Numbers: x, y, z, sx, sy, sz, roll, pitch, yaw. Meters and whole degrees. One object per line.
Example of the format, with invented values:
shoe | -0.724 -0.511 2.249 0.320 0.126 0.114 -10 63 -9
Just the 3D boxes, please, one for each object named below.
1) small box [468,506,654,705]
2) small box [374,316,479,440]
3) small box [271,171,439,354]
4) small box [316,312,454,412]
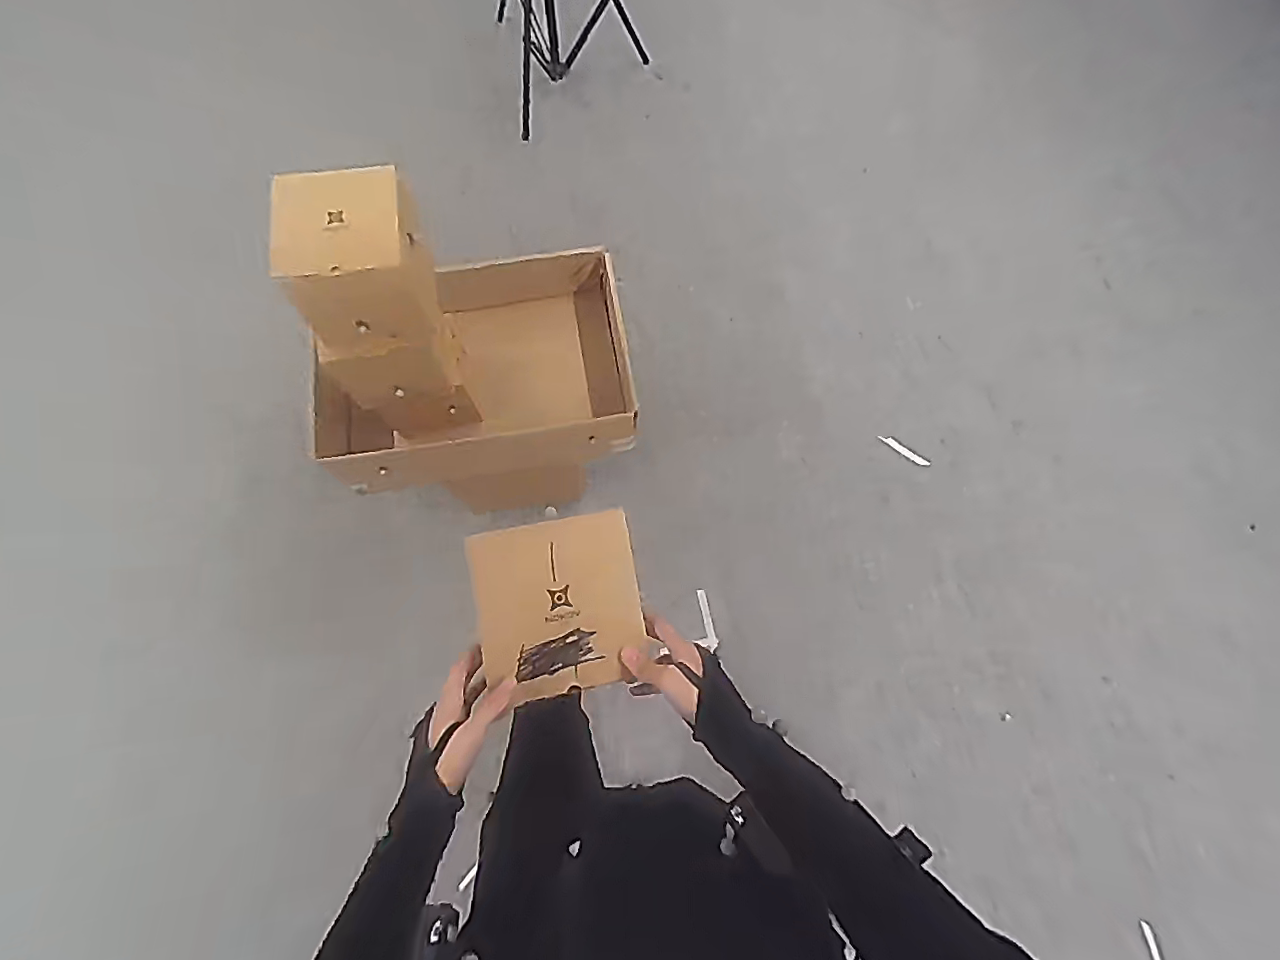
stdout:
small box | -0.089 0.130 0.626 0.168 0.176 0.179 -10 87 -9
small box | -0.435 -0.200 1.094 0.179 0.176 0.168 -15 73 -7
small box | -0.403 -0.310 0.788 0.168 0.176 0.179 -10 73 -7
small box | -0.435 -0.242 0.935 0.168 0.176 0.179 -13 73 -7
